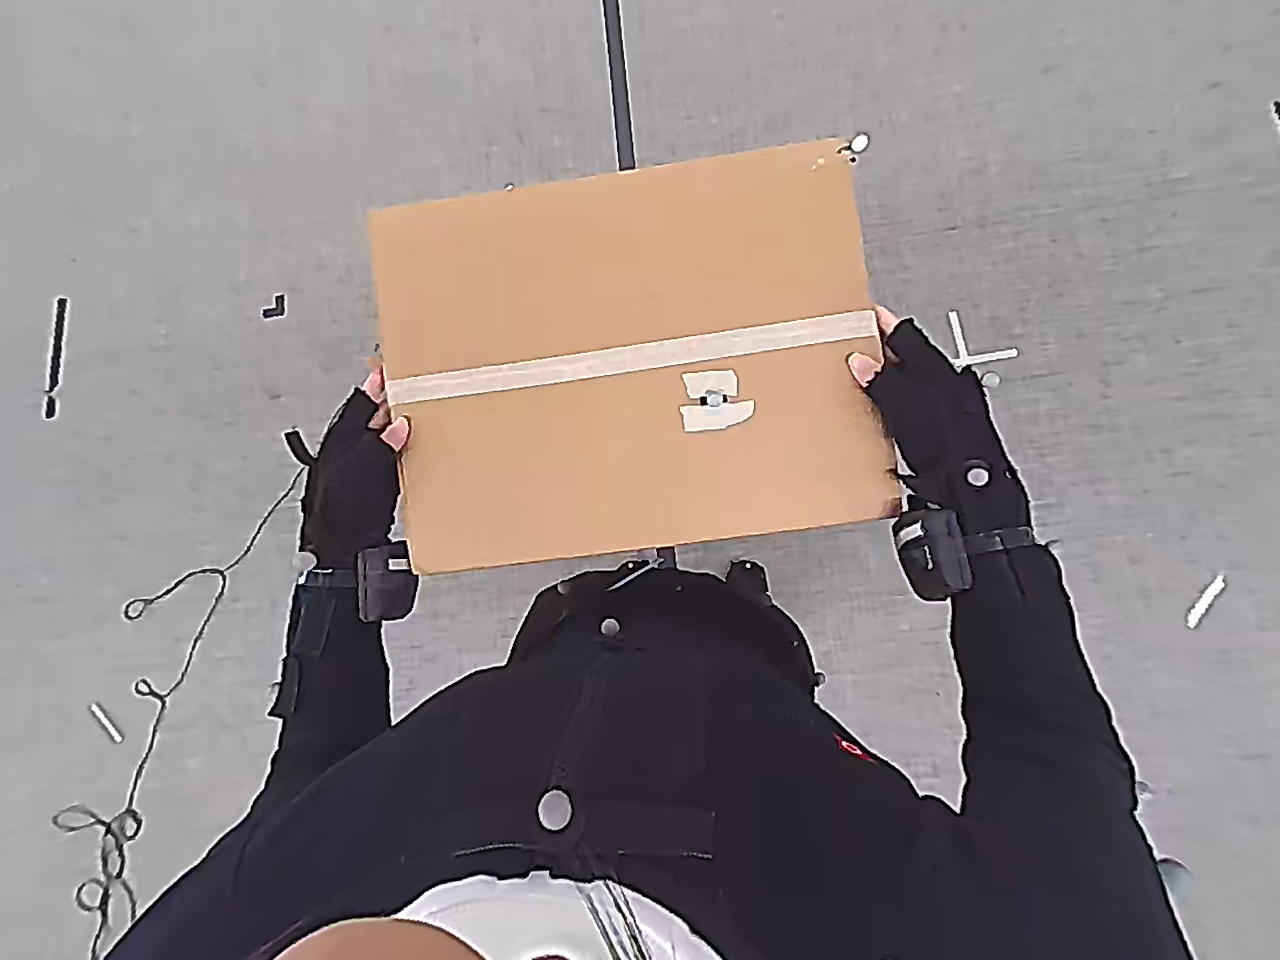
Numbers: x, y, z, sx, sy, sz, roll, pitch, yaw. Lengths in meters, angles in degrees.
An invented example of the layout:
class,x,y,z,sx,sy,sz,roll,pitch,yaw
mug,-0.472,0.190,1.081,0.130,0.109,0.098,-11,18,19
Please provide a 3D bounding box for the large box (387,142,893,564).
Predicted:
class,x,y,z,sx,sy,sz,roll,pitch,yaw
large box,-0.001,-0.103,0.608,0.408,0.320,0.320,-8,89,2
